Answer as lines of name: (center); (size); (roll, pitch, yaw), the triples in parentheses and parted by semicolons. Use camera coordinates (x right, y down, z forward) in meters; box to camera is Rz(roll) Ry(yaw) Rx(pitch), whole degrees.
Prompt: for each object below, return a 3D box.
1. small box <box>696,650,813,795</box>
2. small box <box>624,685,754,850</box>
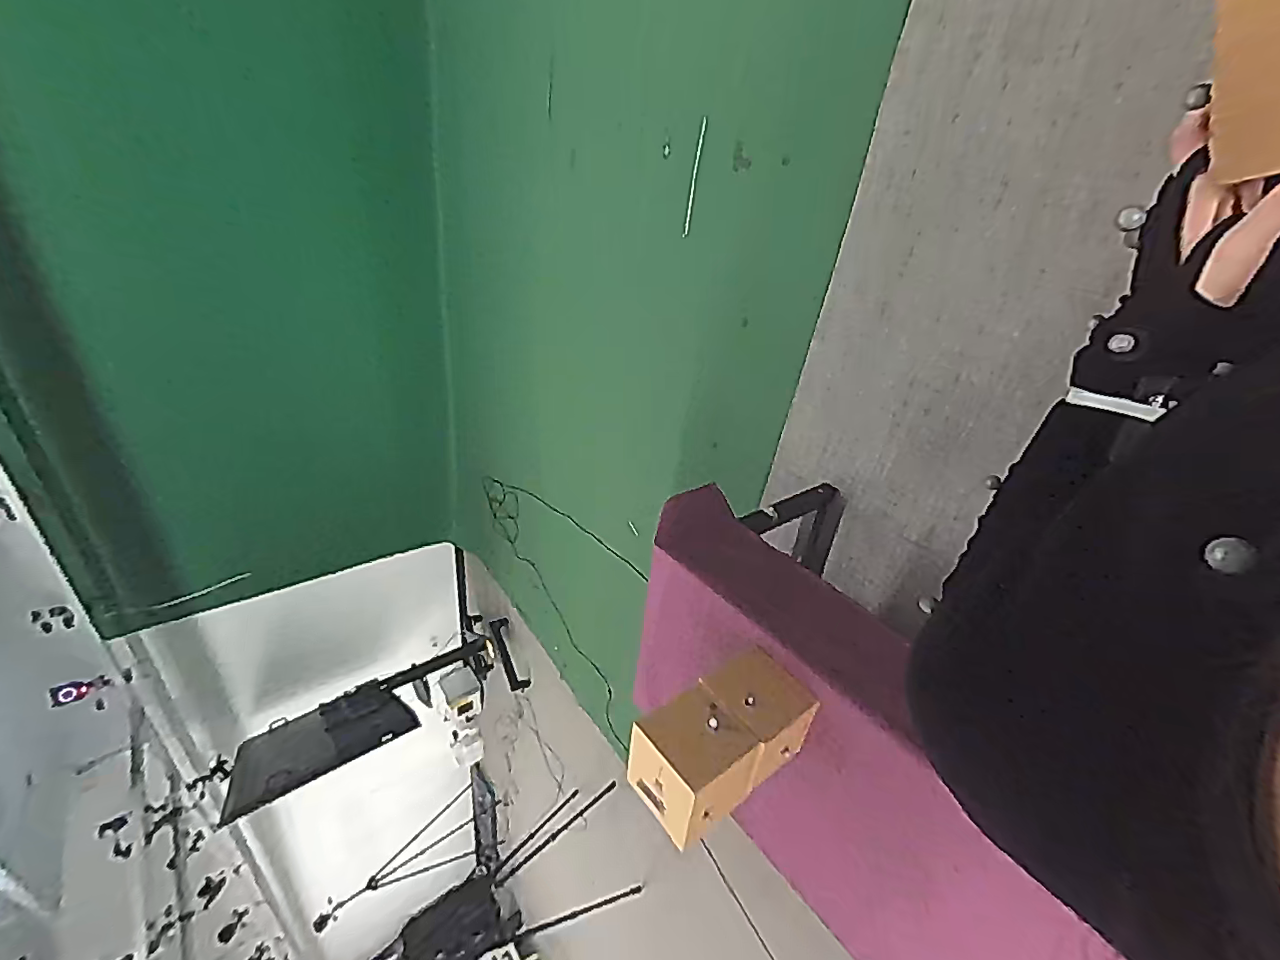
small box: (0.220, 0.480, 1.098); (0.179, 0.176, 0.168); (38, 131, 40)
small box: (0.090, 0.525, 1.007); (0.168, 0.176, 0.179); (35, 129, 41)
